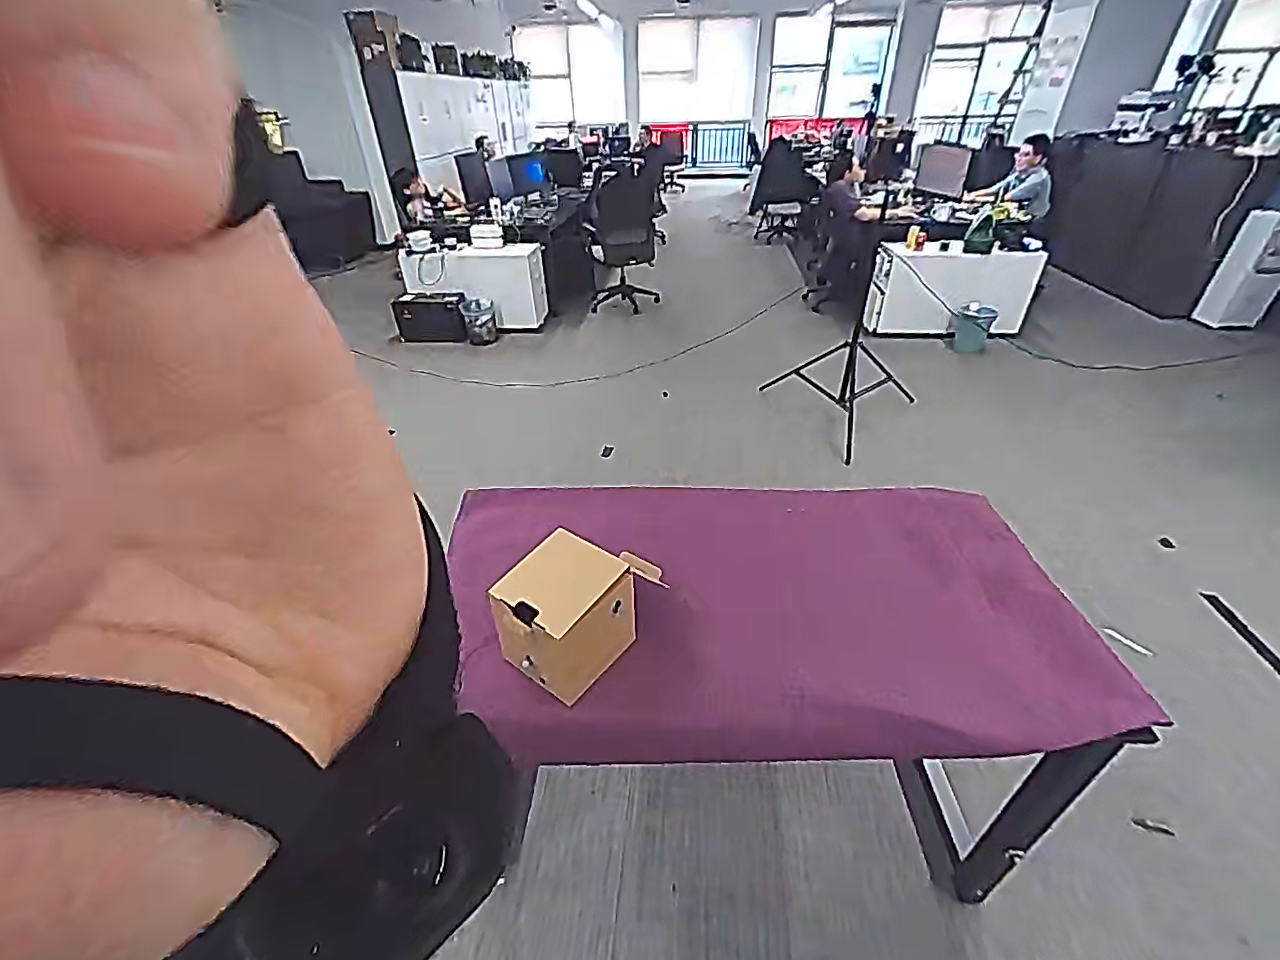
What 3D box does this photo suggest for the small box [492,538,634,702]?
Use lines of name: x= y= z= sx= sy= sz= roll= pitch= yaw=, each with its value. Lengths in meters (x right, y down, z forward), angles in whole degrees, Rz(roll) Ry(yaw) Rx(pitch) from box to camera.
small box: x=-0.126 y=0.236 z=0.931 sx=0.168 sy=0.176 sz=0.179 roll=22 pitch=41 yaw=32
